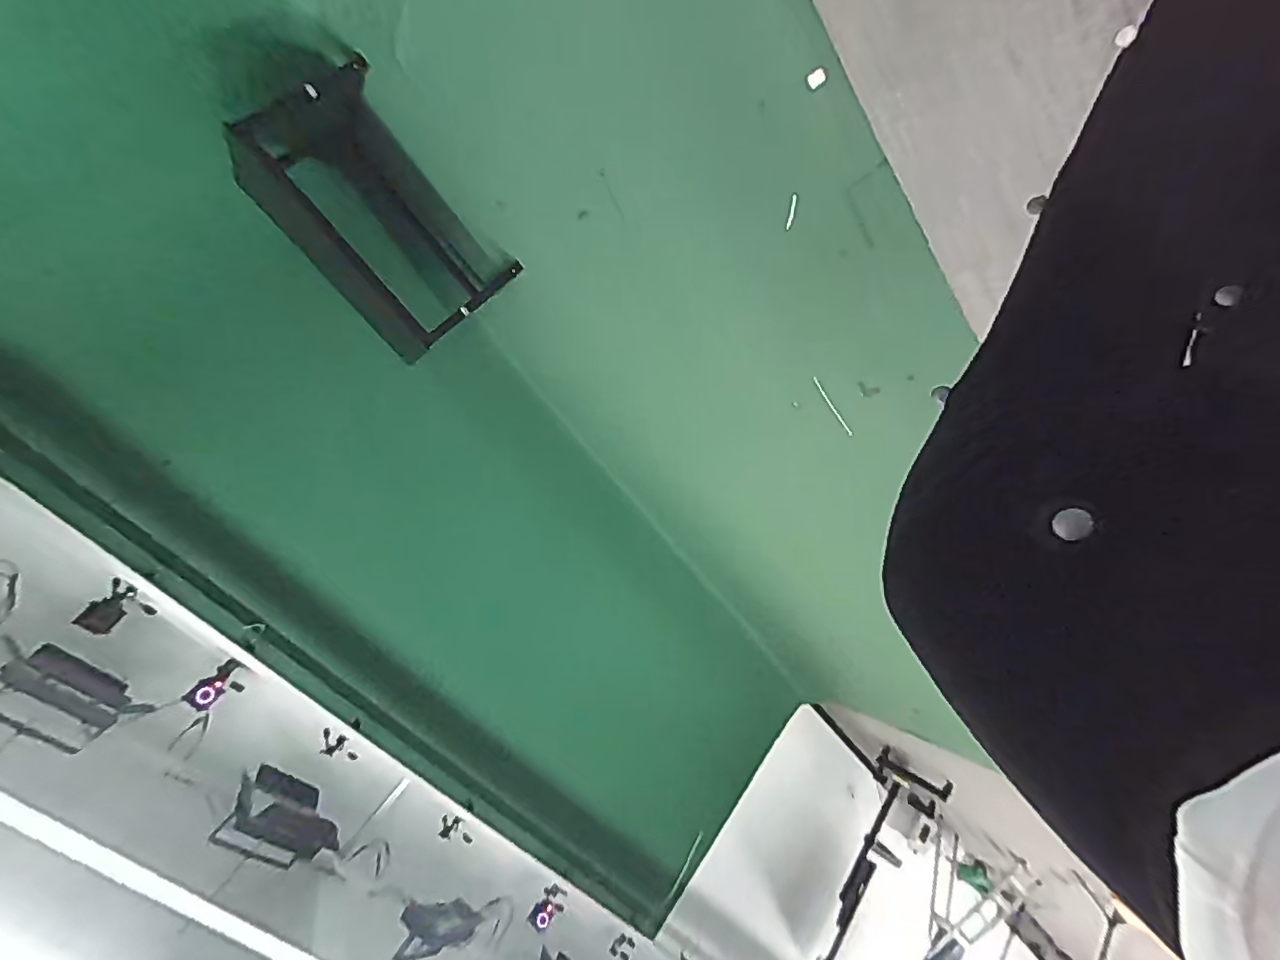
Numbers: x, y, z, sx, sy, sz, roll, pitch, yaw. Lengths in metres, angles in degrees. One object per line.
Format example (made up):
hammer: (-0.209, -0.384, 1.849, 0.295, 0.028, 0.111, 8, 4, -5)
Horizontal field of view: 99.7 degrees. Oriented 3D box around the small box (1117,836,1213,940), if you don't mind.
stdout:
small box: (1.679, 1.295, 1.726, 0.179, 0.176, 0.168, 49, 157, -17)
